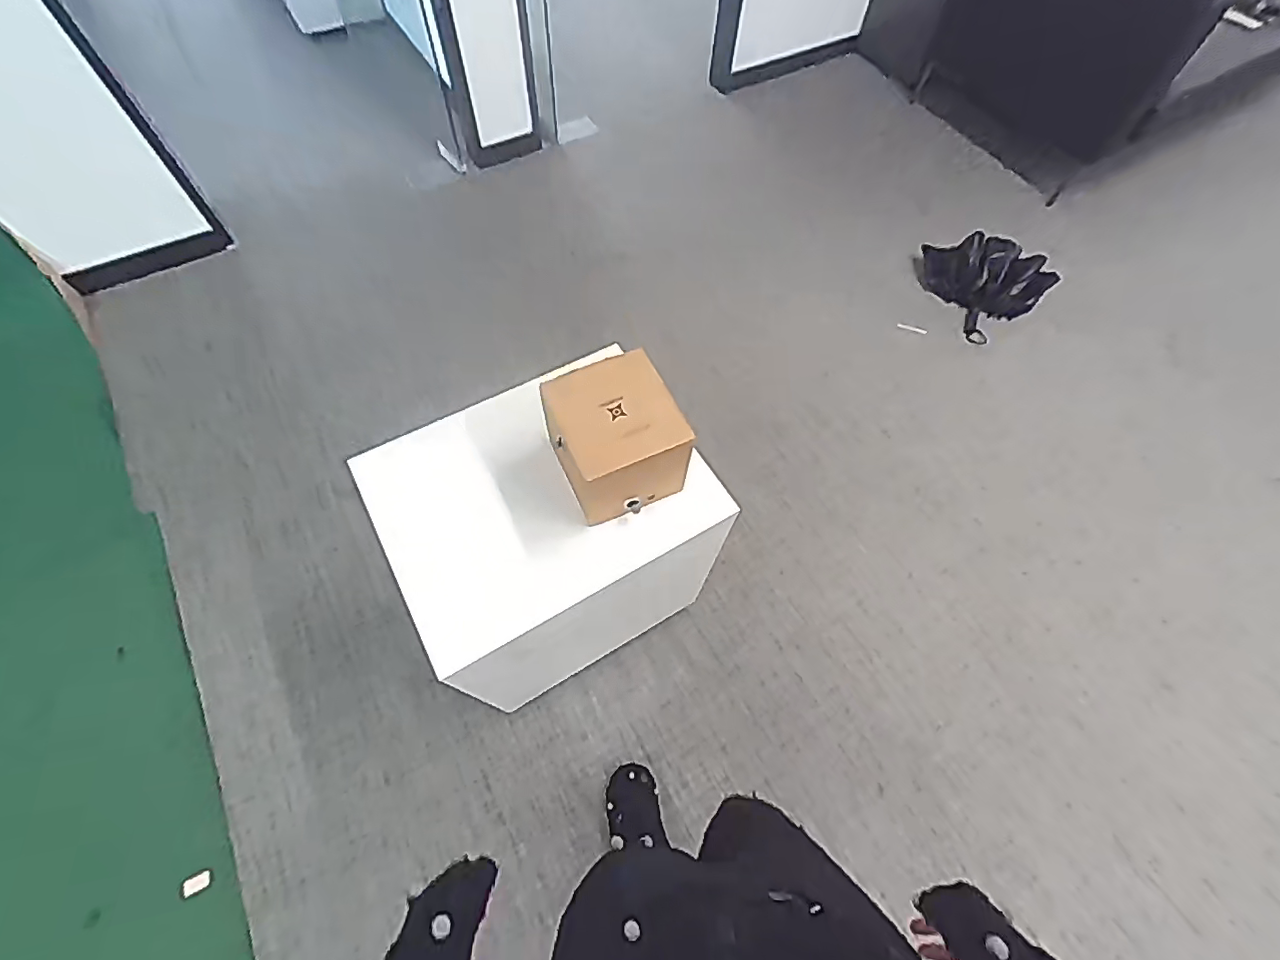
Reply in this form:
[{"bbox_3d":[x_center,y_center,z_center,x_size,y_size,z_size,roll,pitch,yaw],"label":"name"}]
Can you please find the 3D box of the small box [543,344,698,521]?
[{"bbox_3d":[-0.033,-0.067,0.817,0.168,0.176,0.179,-23,67,-13],"label":"small box"}]
